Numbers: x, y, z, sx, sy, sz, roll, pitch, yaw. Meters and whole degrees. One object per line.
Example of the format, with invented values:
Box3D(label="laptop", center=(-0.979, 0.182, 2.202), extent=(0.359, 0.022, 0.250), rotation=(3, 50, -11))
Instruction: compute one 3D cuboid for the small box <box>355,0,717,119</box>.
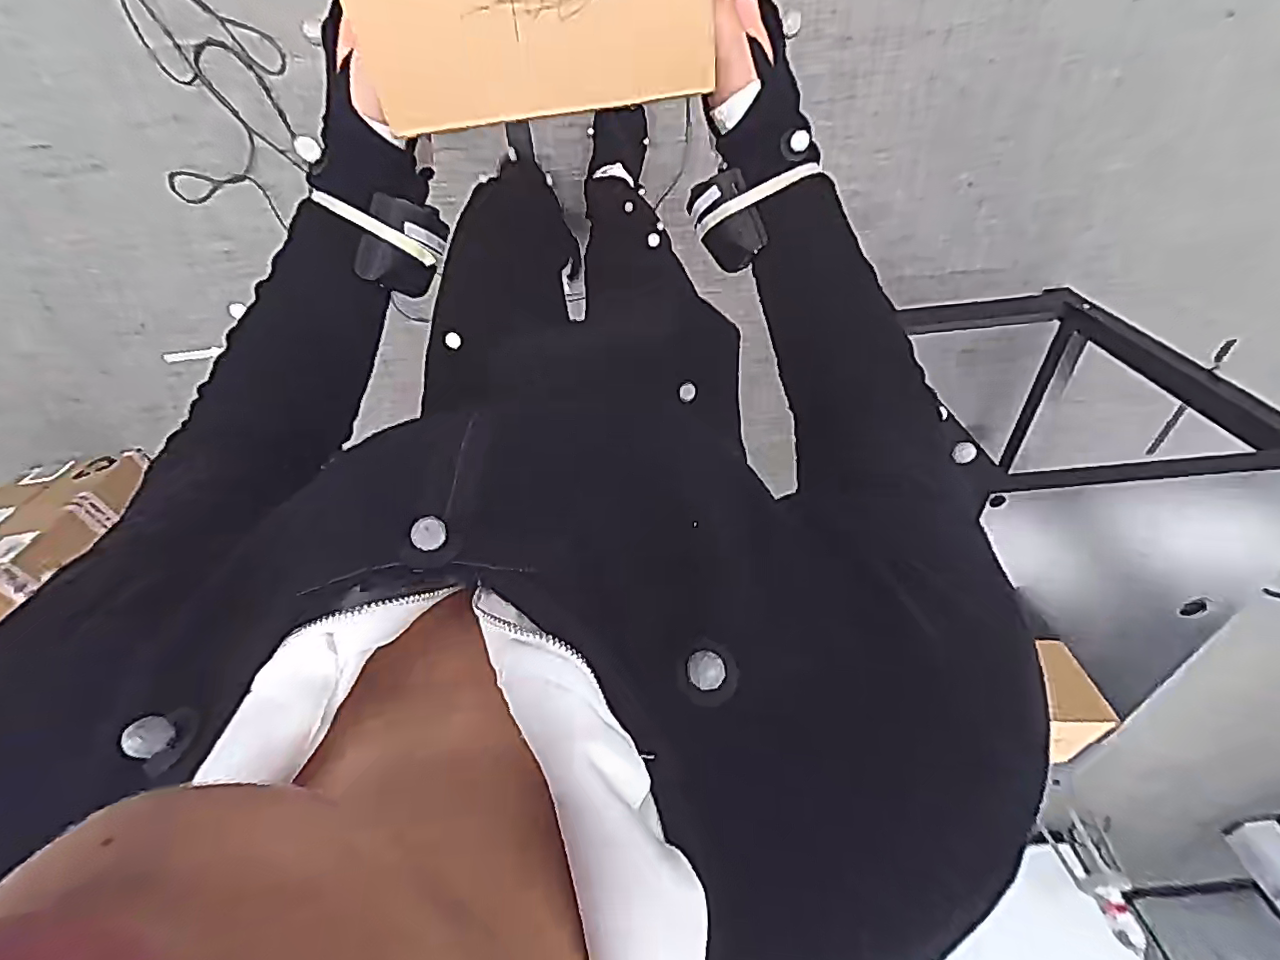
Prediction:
Box3D(label="small box", center=(-0.053, -0.310, 0.267), extent=(0.168, 0.176, 0.179), rotation=(-5, 136, 6))

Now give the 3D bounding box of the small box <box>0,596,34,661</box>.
Box3D(label="small box", center=(-1.520, 0.335, 1.173), extent=(0.168, 0.176, 0.179), rotation=(-12, 129, 3))

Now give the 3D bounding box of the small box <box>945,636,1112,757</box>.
Box3D(label="small box", center=(0.748, 0.425, 1.069), extent=(0.179, 0.176, 0.168), rotation=(3, 130, -7))
